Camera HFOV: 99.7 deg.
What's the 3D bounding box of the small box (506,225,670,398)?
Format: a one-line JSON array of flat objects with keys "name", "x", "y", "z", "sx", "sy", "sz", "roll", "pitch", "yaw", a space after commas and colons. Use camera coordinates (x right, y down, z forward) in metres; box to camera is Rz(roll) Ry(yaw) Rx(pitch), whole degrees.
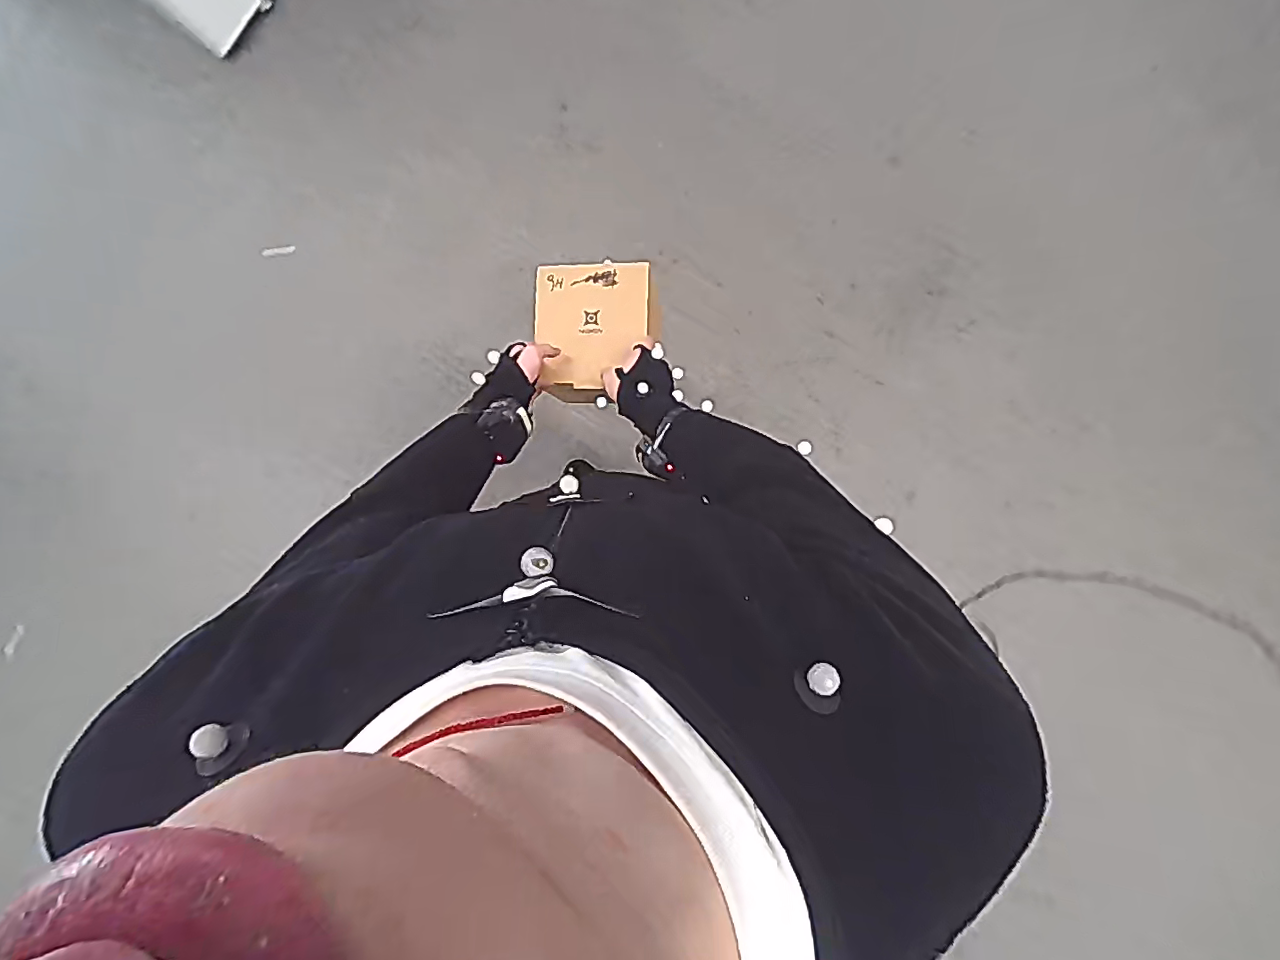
[{"name": "small box", "x": -0.071, "y": -0.246, "z": 0.843, "sx": 0.179, "sy": 0.176, "sz": 0.168, "roll": -29, "pitch": 84, "yaw": 8}]
